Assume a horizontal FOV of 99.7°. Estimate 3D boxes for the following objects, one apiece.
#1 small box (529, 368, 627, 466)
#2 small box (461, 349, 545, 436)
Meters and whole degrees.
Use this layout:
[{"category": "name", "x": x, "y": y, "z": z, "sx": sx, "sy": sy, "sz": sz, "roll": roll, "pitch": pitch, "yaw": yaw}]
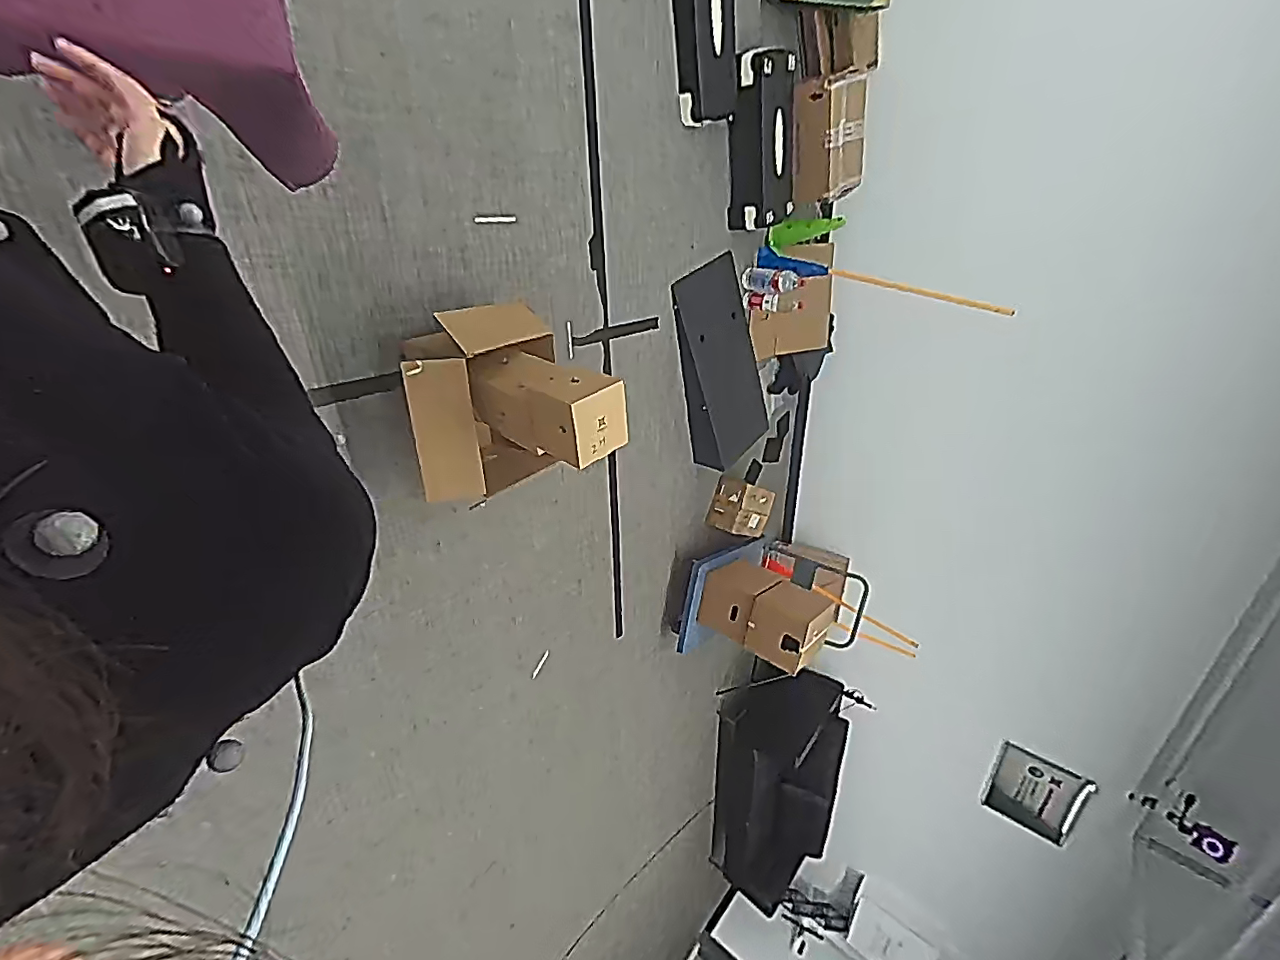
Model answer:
[{"category": "small box", "x": -0.153, "y": -0.163, "z": 1.325, "sx": 0.168, "sy": 0.176, "sz": 0.179, "roll": -32, "pitch": 133, "yaw": -35}, {"category": "small box", "x": -0.379, "y": -0.258, "z": 1.547, "sx": 0.168, "sy": 0.176, "sz": 0.179, "roll": -45, "pitch": 140, "yaw": -26}]
